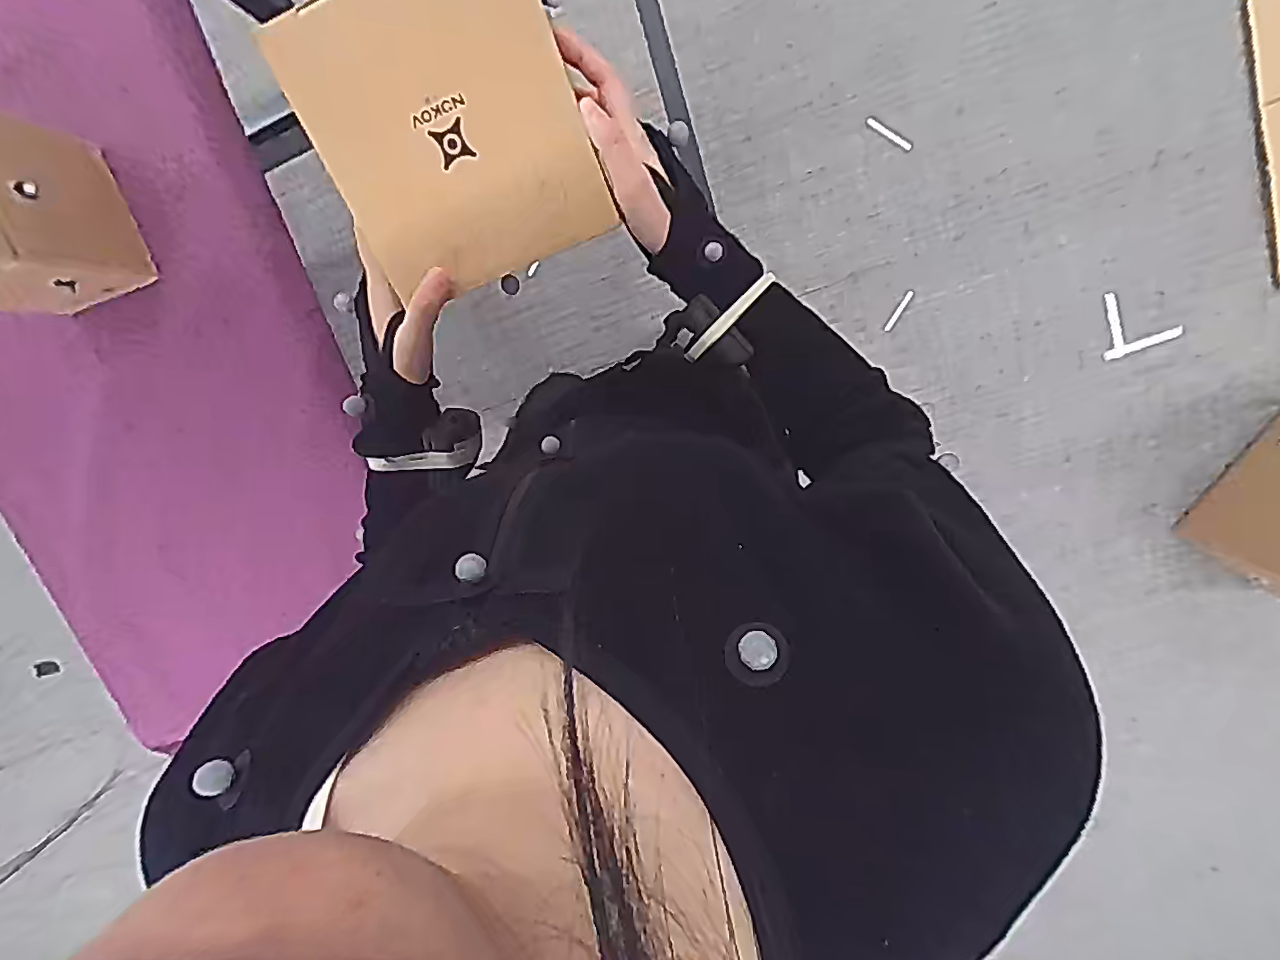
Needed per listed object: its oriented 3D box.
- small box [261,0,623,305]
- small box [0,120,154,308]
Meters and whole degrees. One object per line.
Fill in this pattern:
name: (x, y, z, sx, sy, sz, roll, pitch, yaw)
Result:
small box: (-0.115, -0.255, 0.407, 0.168, 0.176, 0.179, -19, 114, 8)
small box: (-0.760, -0.316, 0.655, 0.168, 0.176, 0.179, -16, 102, 8)
